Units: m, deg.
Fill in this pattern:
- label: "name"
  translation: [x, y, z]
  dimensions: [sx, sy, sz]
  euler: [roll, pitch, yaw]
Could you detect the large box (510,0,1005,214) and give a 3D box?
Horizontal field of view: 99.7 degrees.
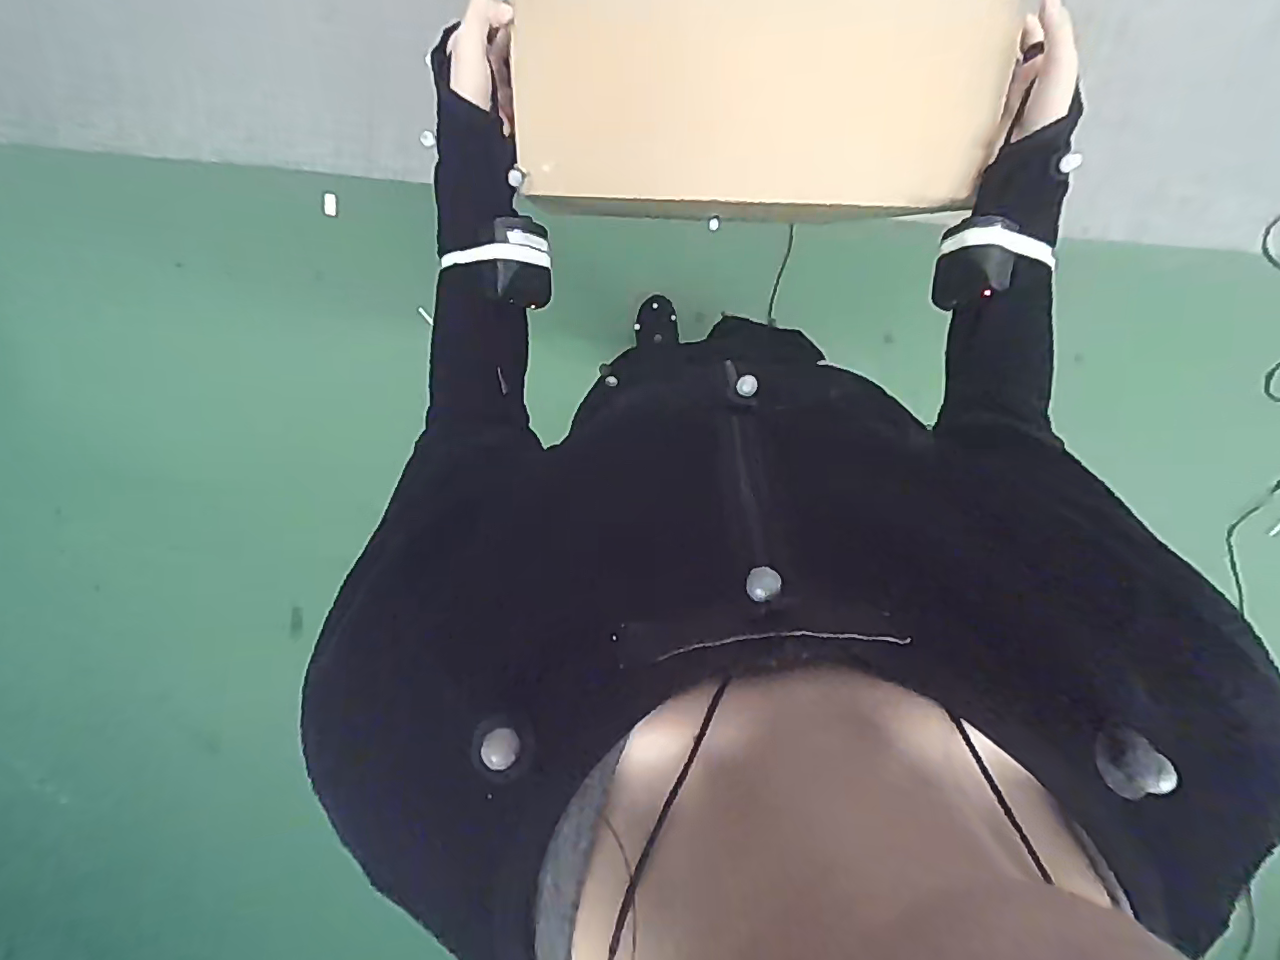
- label: "large box"
  translation: [0.088, -0.448, 0.553]
  dimensions: [0.408, 0.320, 0.320]
  euler: [-1, 113, -5]
